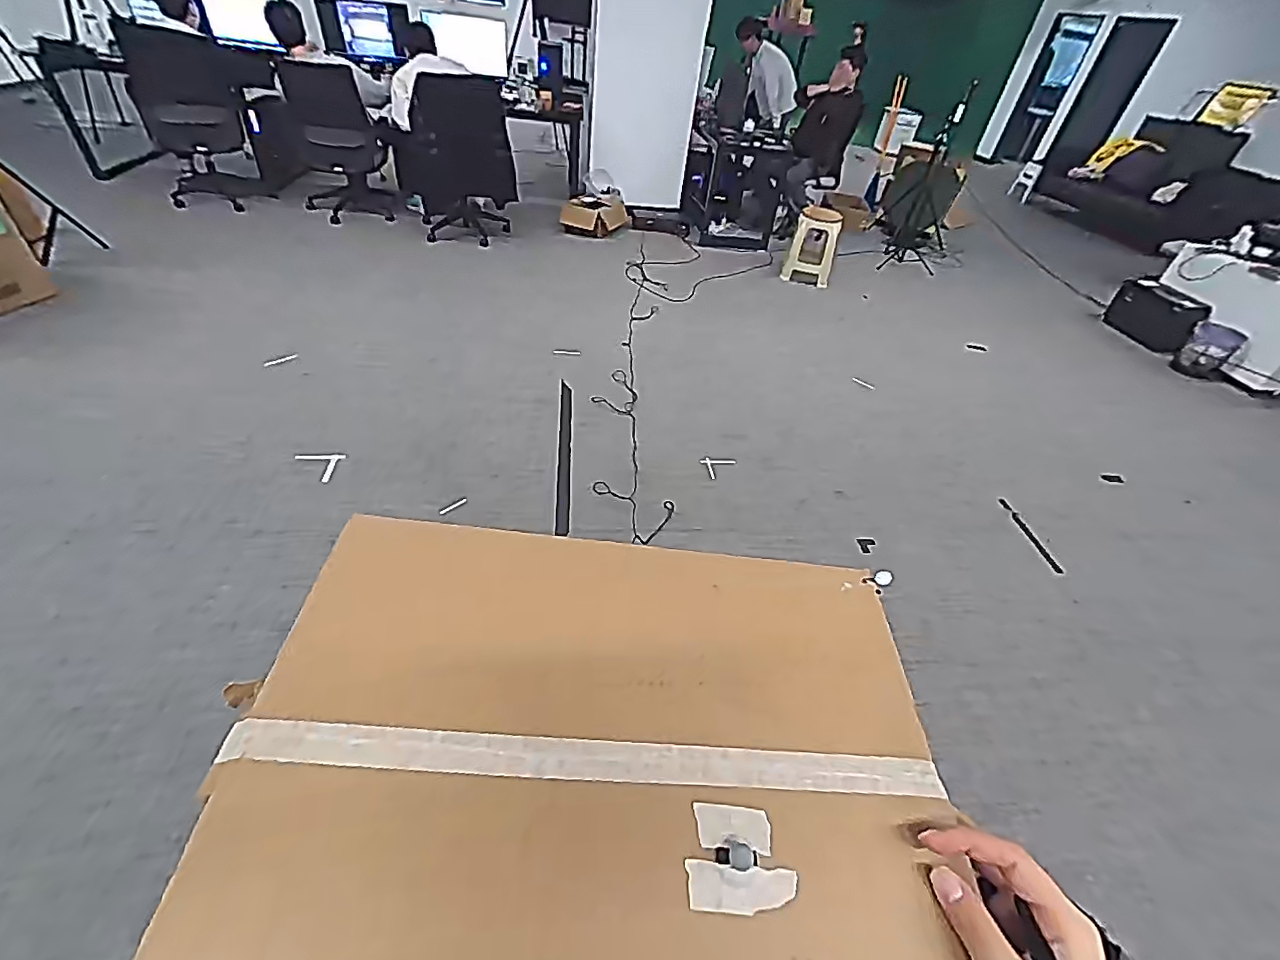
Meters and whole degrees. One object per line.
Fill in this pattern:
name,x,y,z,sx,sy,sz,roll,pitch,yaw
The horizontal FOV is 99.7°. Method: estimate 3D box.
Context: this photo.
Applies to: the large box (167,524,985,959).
large box,-0.039,0.267,0.430,0.408,0.320,0.320,8,47,-7
